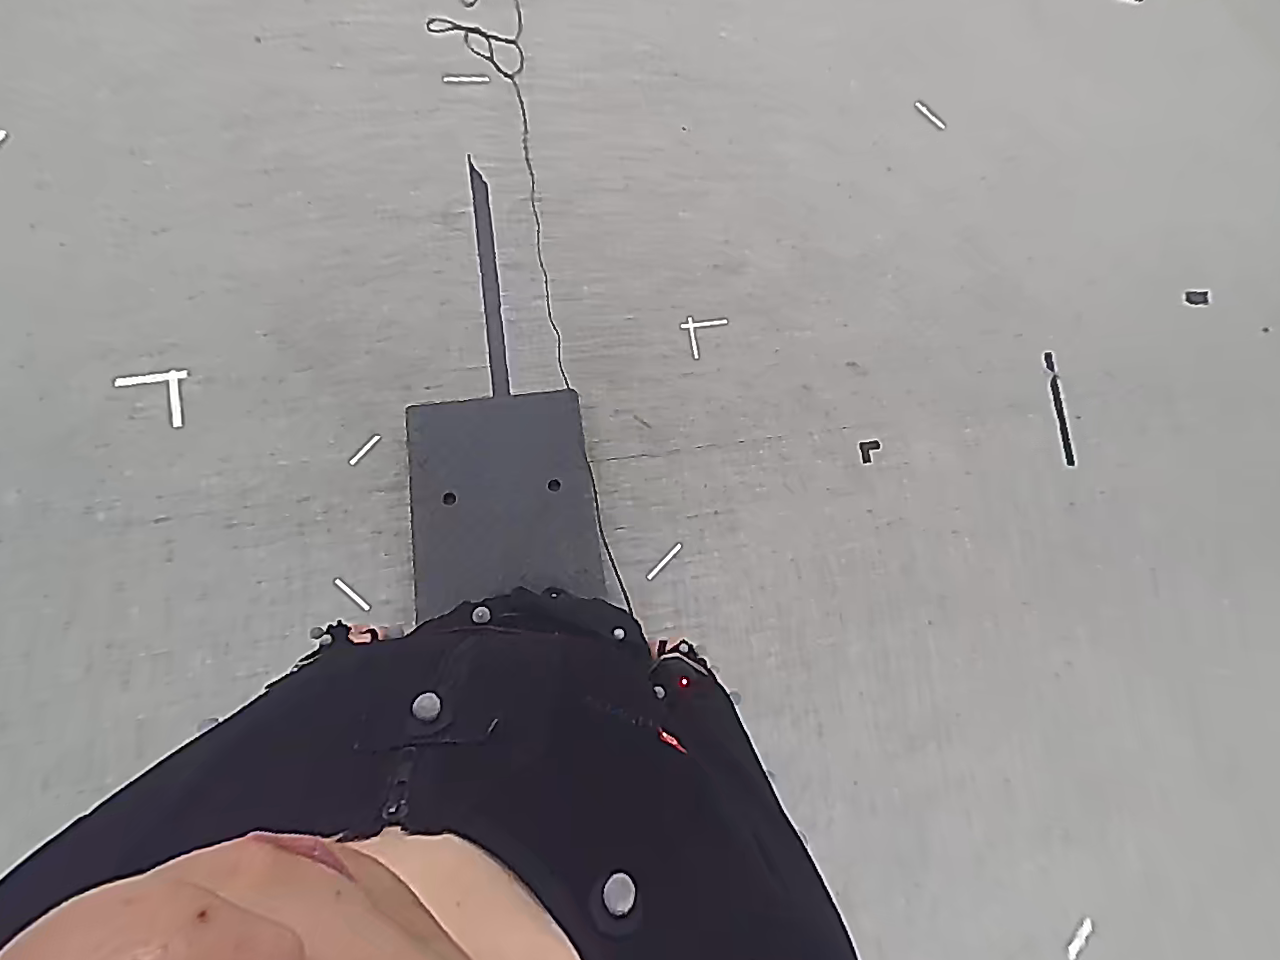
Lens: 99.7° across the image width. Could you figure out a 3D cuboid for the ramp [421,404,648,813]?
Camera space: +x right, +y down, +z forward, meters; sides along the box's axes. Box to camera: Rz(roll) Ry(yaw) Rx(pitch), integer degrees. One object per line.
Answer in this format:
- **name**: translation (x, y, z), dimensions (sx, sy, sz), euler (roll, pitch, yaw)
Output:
- **ramp**: translation (-0.307, 0.270, 1.432), dimensions (0.509, 0.206, 0.991), euler (-10, 81, -8)
